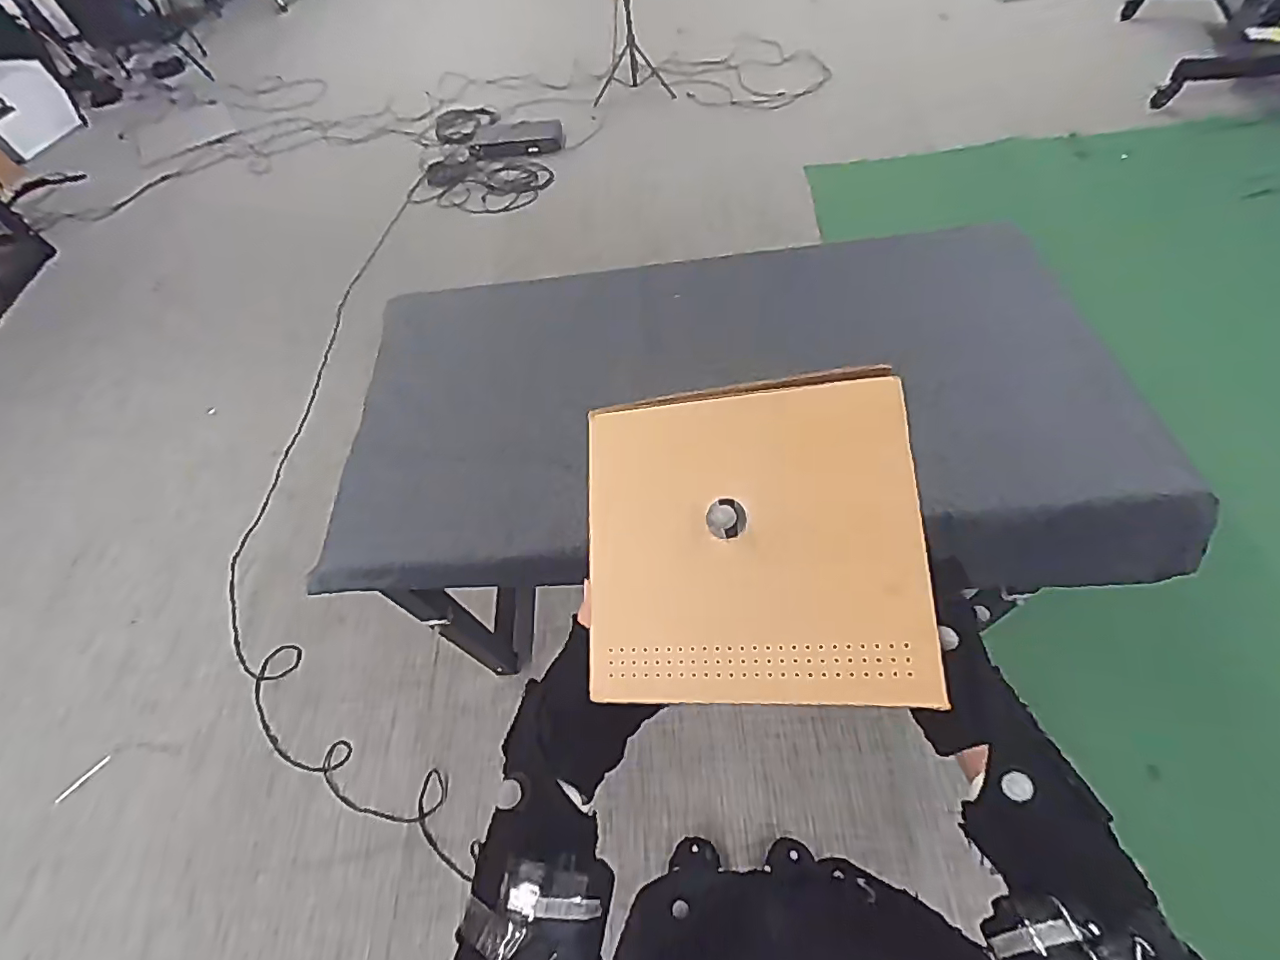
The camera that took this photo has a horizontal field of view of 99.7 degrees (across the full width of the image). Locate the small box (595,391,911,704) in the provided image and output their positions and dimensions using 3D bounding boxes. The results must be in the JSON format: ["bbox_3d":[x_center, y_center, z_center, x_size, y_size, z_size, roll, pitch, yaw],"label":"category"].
[{"bbox_3d":[0.078,0.055,0.379,0.179,0.168,0.176,-6,75,14],"label":"small box"}]
